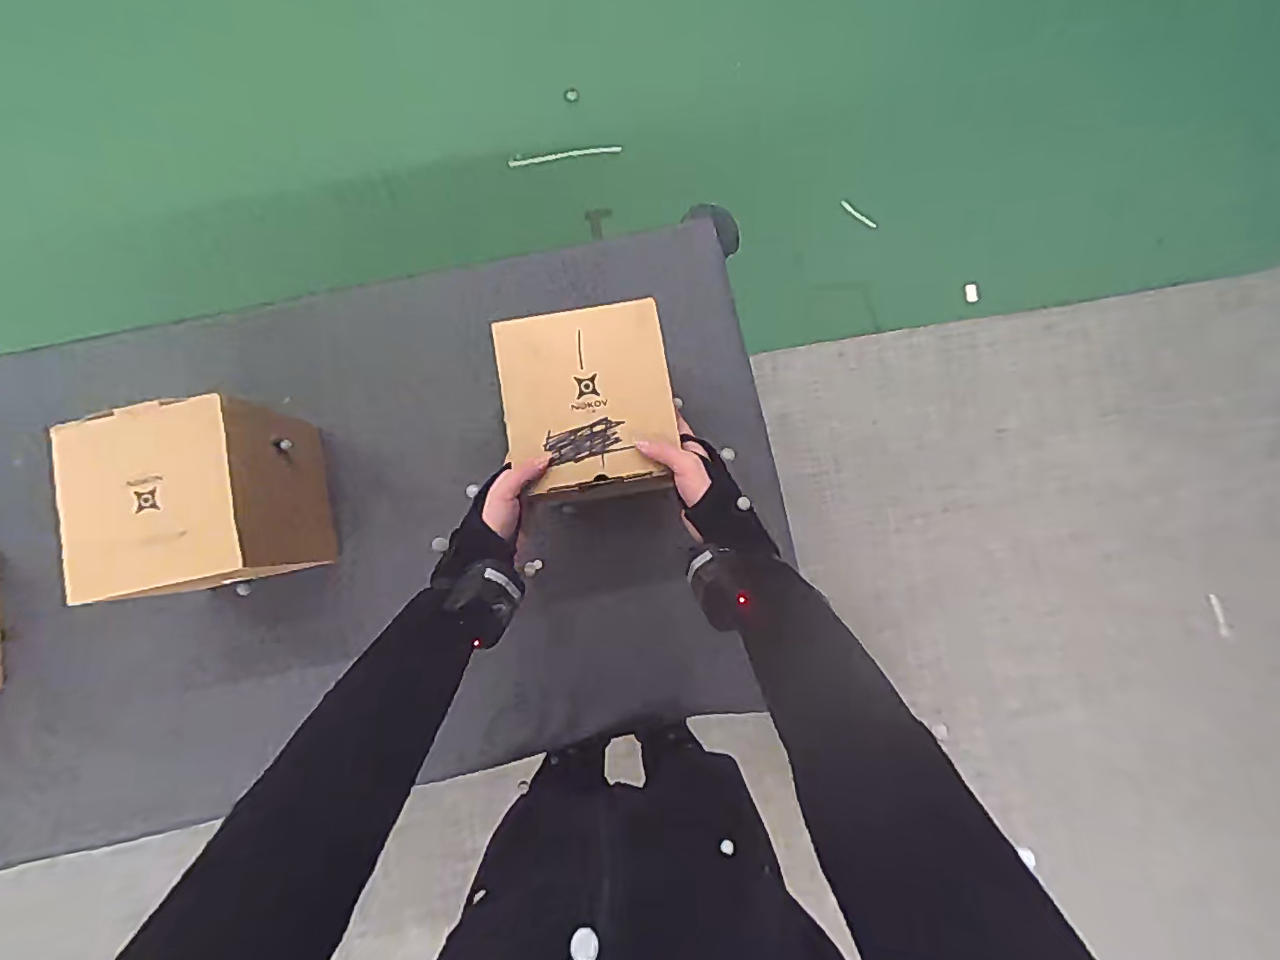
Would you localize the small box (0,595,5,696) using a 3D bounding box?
[{"bbox_3d":[-0.839,0.177,0.564,0.168,0.176,0.179,-12,83,-2],"label":"small box"}]

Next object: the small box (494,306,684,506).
[{"bbox_3d":[-0.050,-0.067,0.601,0.168,0.176,0.179,-10,84,-2],"label":"small box"}]

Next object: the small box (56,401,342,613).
[{"bbox_3d":[-0.459,0.031,0.589,0.168,0.176,0.179,-13,85,-1],"label":"small box"}]
